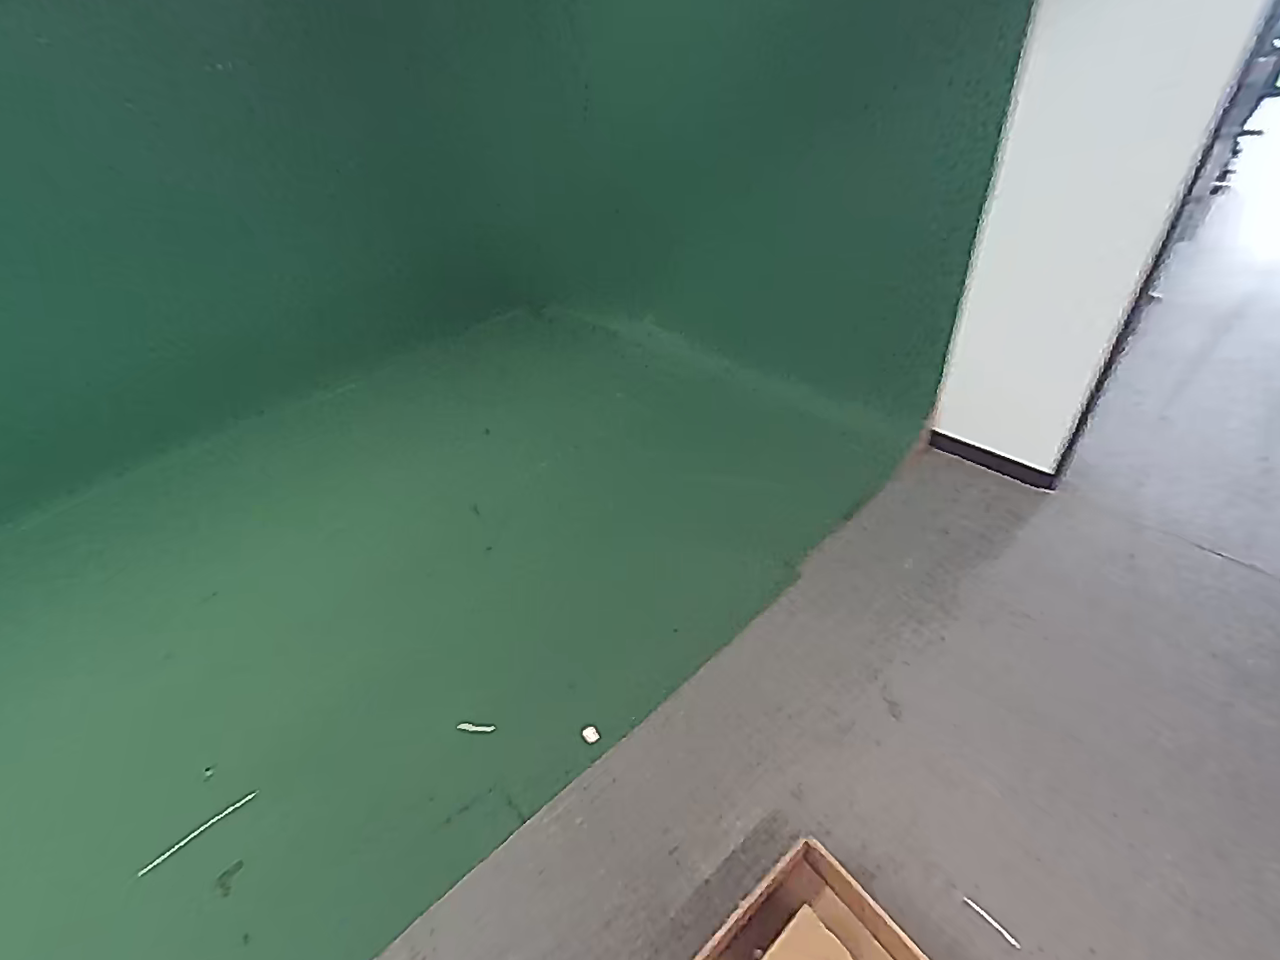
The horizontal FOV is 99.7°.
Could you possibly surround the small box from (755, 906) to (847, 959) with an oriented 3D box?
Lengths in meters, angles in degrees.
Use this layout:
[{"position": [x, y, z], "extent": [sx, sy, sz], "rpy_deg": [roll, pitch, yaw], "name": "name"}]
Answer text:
[{"position": [0.318, 0.992, 1.052], "extent": [0.179, 0.176, 0.168], "rpy_deg": [-32, 46, -23], "name": "small box"}]
